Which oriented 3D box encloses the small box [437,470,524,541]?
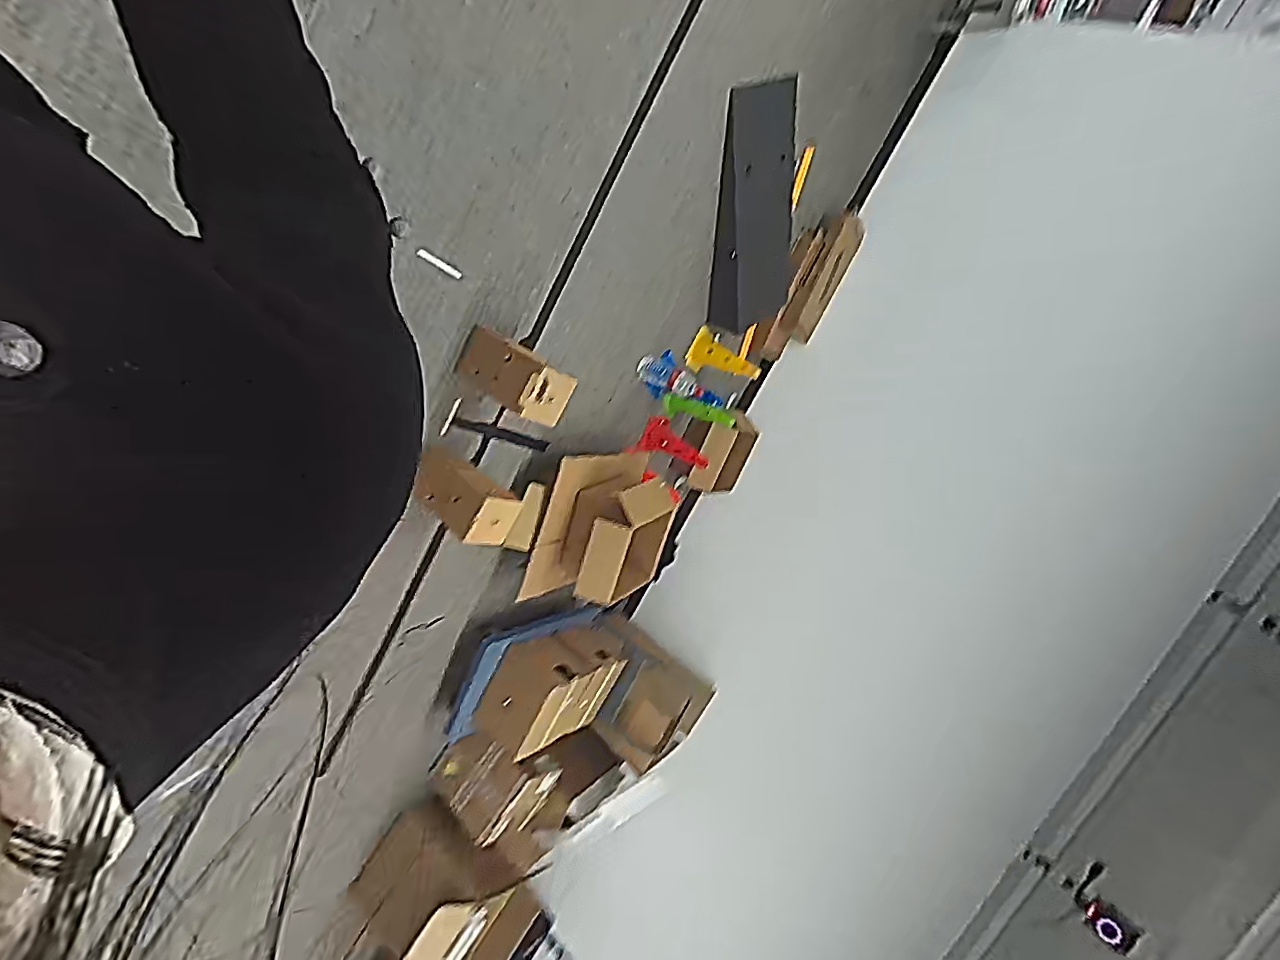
[{"bbox_3d":[-0.522,0.083,1.767,0.168,0.176,0.179,-61,152,8],"label":"small box"}]

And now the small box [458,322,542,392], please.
[{"bbox_3d":[-0.456,-0.380,1.746,0.168,0.176,0.179,8,110,-61],"label":"small box"}]

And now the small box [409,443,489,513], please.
[{"bbox_3d":[-0.649,0.003,1.830,0.179,0.176,0.168,-59,153,4],"label":"small box"}]

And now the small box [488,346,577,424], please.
[{"bbox_3d":[-0.336,-0.297,1.671,0.168,0.176,0.179,-61,154,7],"label":"small box"}]
